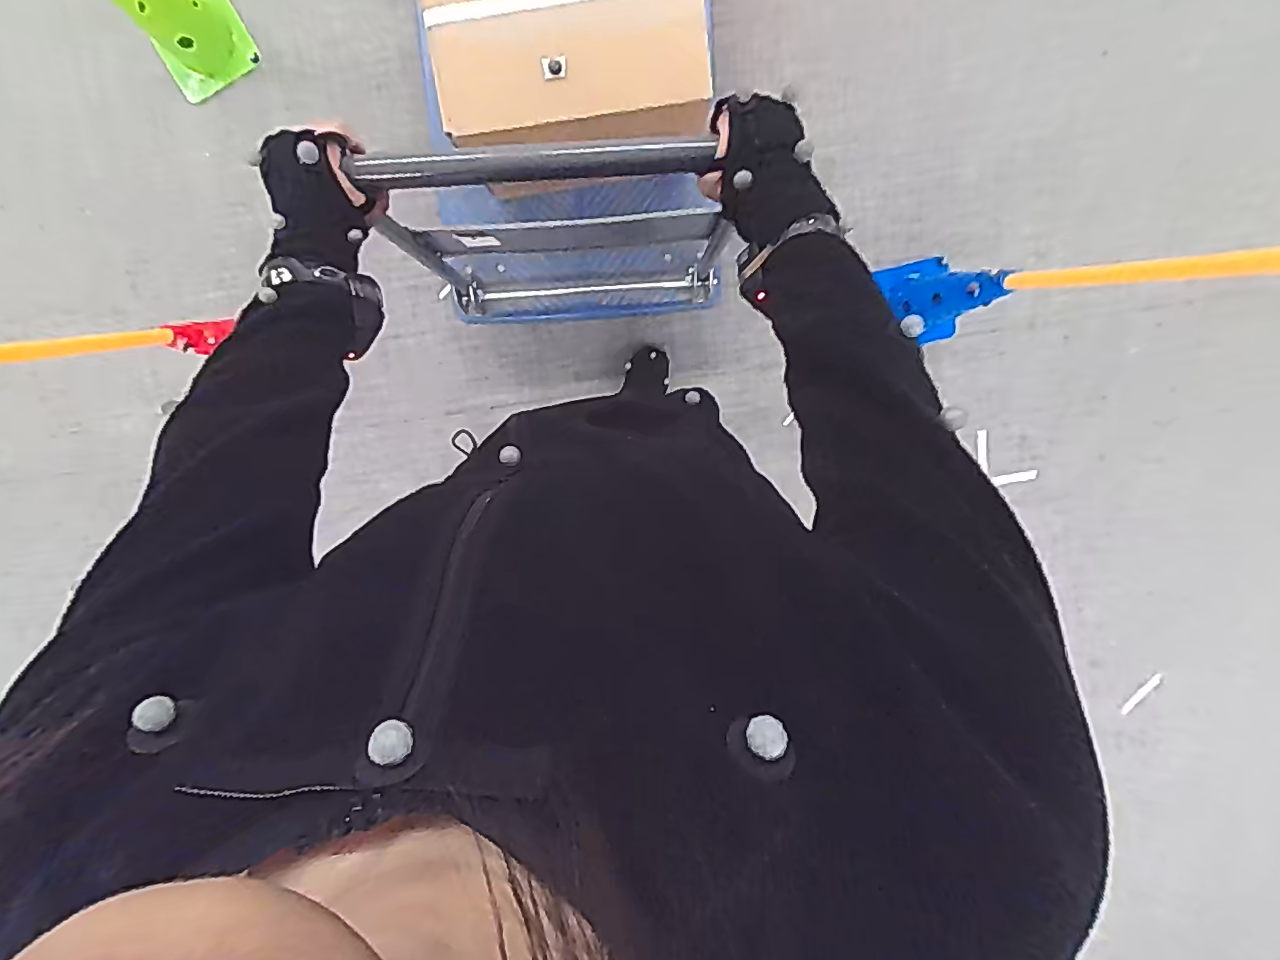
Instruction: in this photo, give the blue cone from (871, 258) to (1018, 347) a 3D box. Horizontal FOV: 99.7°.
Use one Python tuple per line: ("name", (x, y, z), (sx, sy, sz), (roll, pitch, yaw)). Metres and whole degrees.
("blue cone", (0.675, -0.404, 1.169), (0.193, 0.380, 0.192), (-12, 100, 1))
